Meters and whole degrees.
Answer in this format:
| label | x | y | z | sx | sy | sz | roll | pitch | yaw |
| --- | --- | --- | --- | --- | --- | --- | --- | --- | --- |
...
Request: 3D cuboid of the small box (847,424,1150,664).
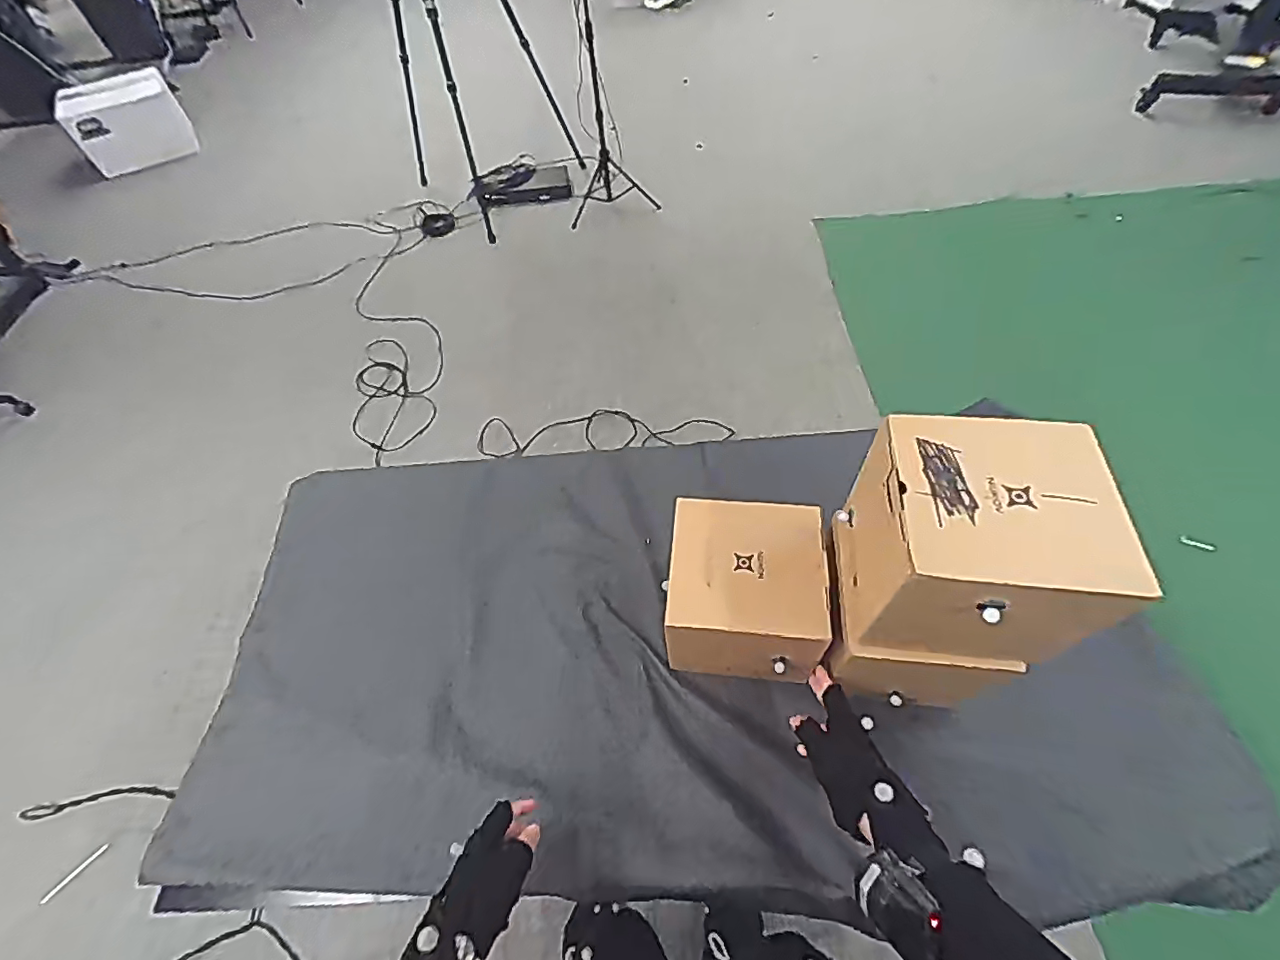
| label | x | y | z | sx | sy | sz | roll | pitch | yaw |
| --- | --- | --- | --- | --- | --- | --- | --- | --- | --- |
| small box | 0.306 | 0.065 | 0.516 | 0.179 | 0.176 | 0.168 | 4 | 56 | 8 |
